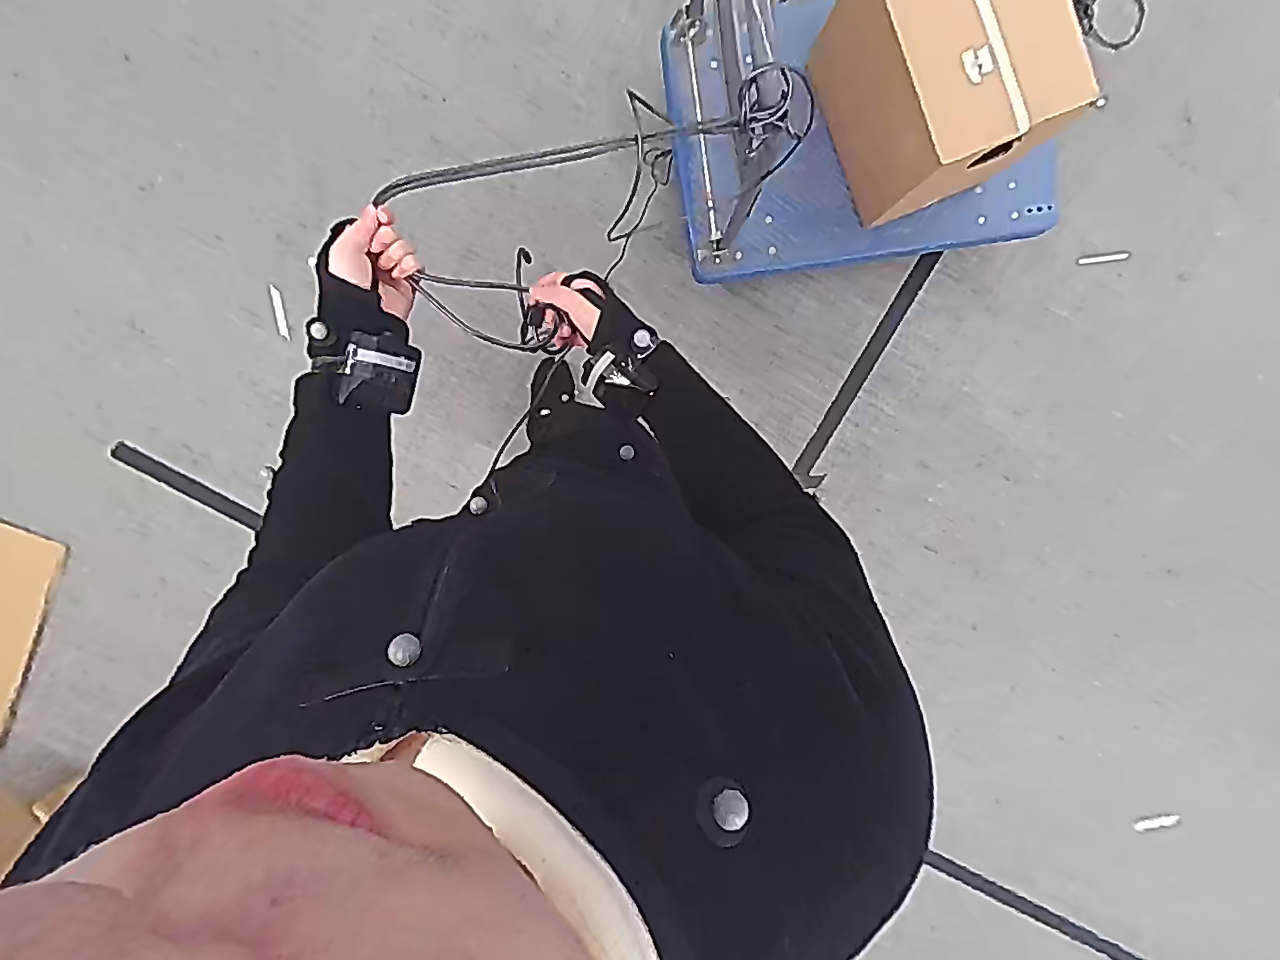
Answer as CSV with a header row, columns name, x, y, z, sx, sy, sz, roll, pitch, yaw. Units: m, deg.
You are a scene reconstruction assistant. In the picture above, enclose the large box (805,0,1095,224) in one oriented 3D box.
name,x,y,z,sx,sy,sz,roll,pitch,yaw
large box,0.588,-0.815,1.089,0.320,0.320,0.408,-23,96,0
